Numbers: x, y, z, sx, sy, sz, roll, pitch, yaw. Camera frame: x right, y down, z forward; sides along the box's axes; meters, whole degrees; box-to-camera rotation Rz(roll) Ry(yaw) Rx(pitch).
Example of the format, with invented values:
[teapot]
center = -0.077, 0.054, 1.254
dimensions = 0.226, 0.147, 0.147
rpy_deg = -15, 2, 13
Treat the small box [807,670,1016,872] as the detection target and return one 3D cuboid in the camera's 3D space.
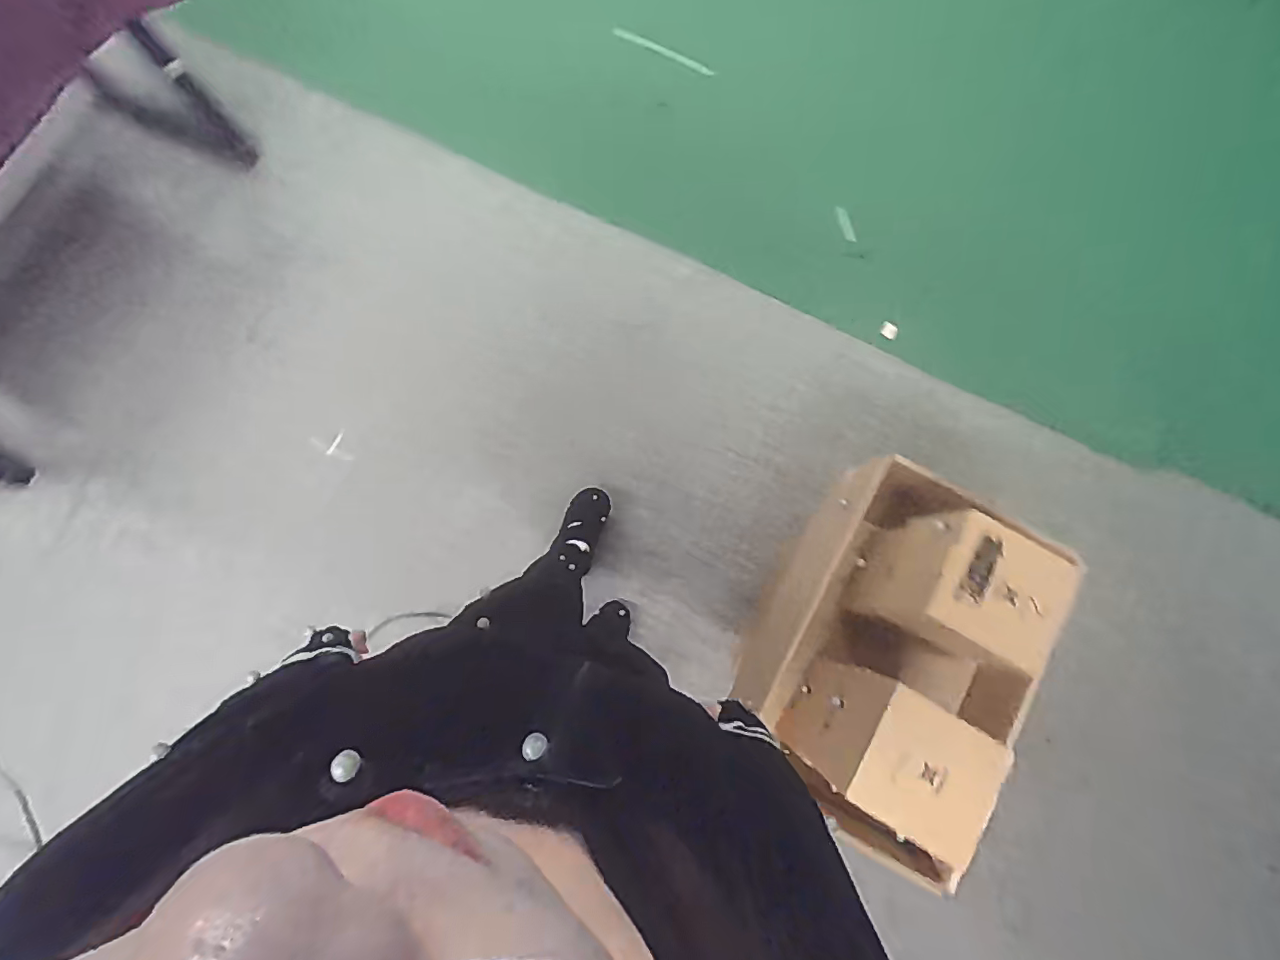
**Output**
[small box]
center = 0.373, 0.395, 0.774
dimensions = 0.179, 0.176, 0.168
rpy_deg = 33, 80, 5
